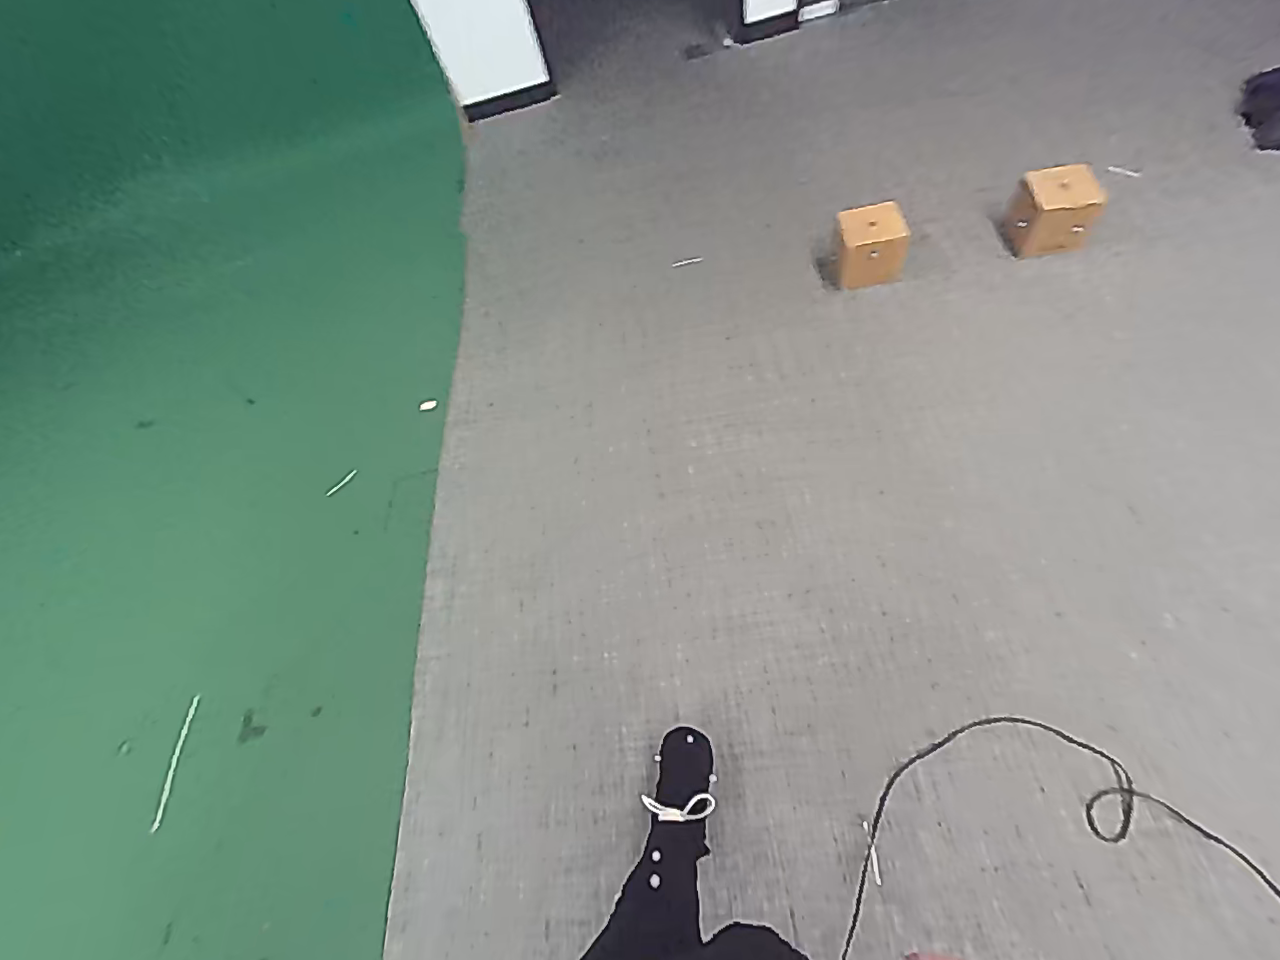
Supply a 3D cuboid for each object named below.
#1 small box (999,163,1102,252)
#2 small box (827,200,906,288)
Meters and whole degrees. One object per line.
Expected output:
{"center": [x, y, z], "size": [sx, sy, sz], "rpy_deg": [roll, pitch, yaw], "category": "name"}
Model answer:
{"center": [1.209, -0.799, 1.607], "size": [0.168, 0.176, 0.179], "rpy_deg": [-4, 60, 9], "category": "small box"}
{"center": [0.696, -0.730, 1.682], "size": [0.179, 0.176, 0.168], "rpy_deg": [-8, 60, 8], "category": "small box"}
